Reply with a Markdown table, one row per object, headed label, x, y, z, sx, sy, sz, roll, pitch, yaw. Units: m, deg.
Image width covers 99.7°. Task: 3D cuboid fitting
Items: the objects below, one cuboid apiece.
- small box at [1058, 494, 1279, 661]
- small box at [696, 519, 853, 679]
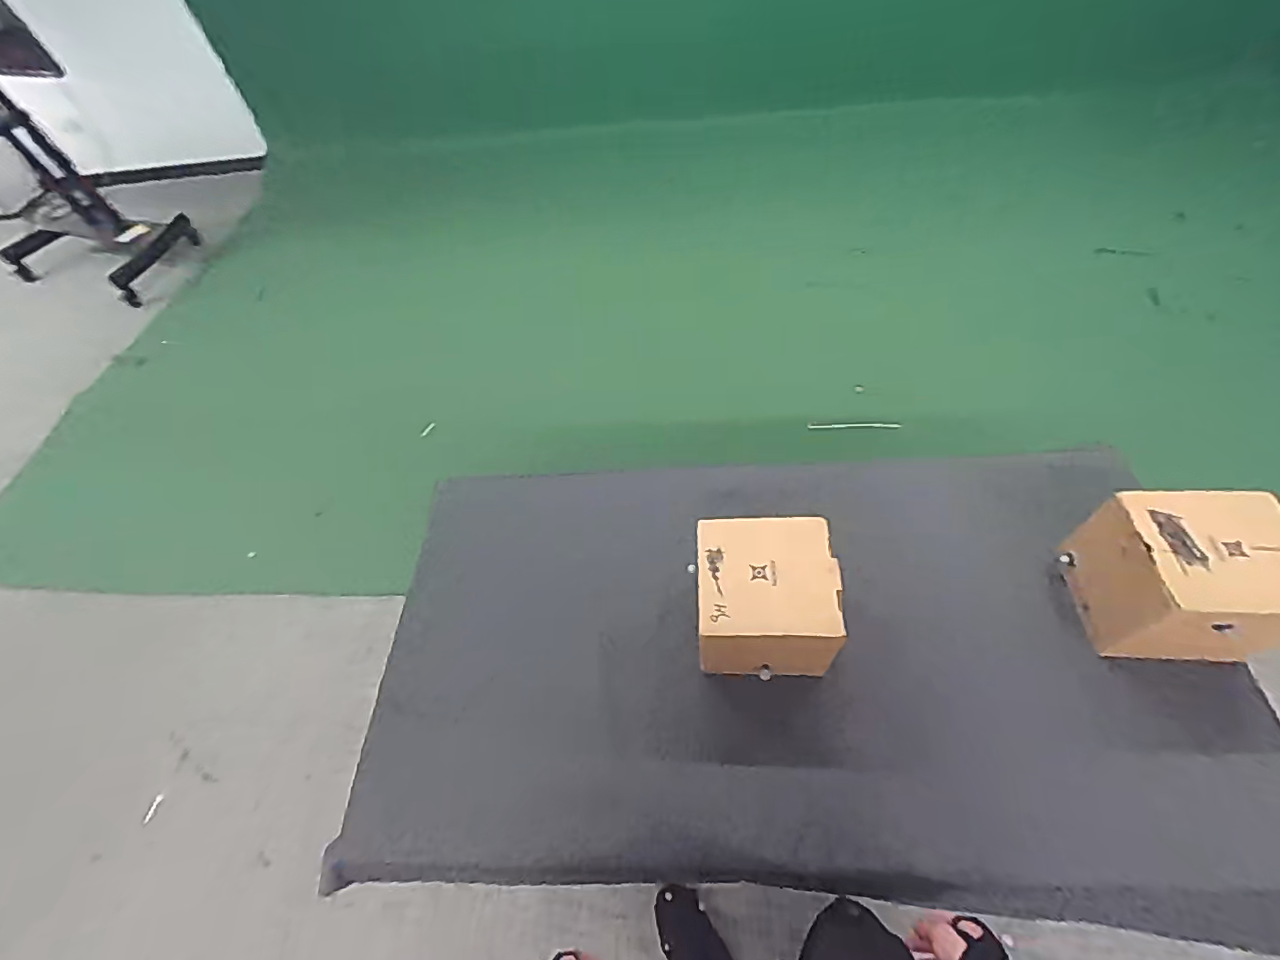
| label | x | y | z | sx | sy | sz | roll | pitch | yaw |
| --- | --- | --- | --- | --- | --- | --- | --- | --- | --- |
| small box | 0.708 | 0.134 | 0.724 | 0.179 | 0.176 | 0.168 | 1 | 54 | 5 |
| small box | 0.170 | 0.167 | 0.746 | 0.179 | 0.176 | 0.168 | 0 | 54 | 4 |
